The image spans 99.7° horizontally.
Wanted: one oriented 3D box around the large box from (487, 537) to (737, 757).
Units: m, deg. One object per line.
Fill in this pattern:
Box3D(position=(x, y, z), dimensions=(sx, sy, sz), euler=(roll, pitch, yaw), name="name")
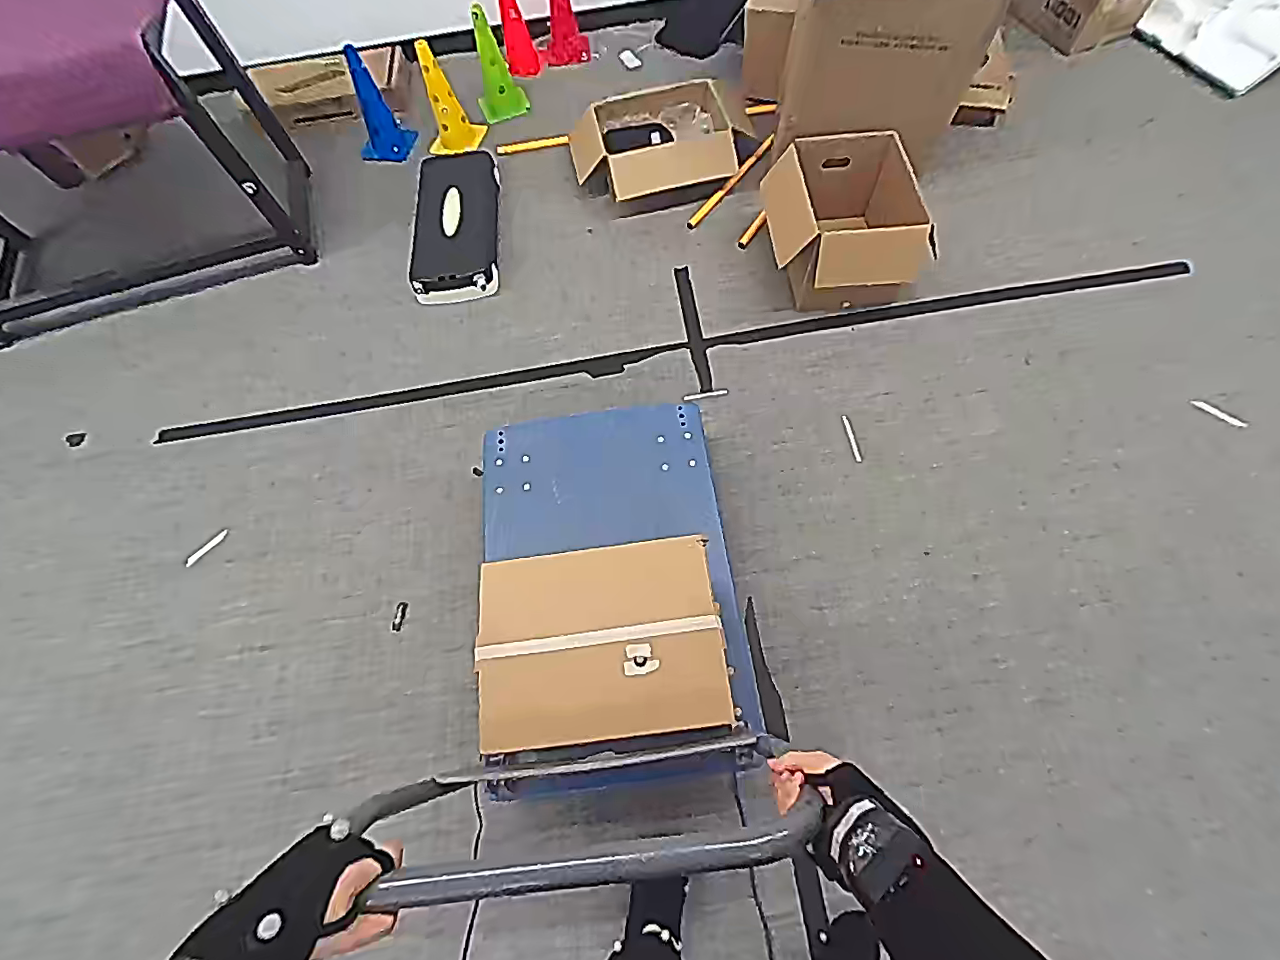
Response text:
Box3D(position=(-0.053, 0.333, 1.045), dimensions=(0.408, 0.320, 0.320), euler=(-8, 65, 0), name="large box")
